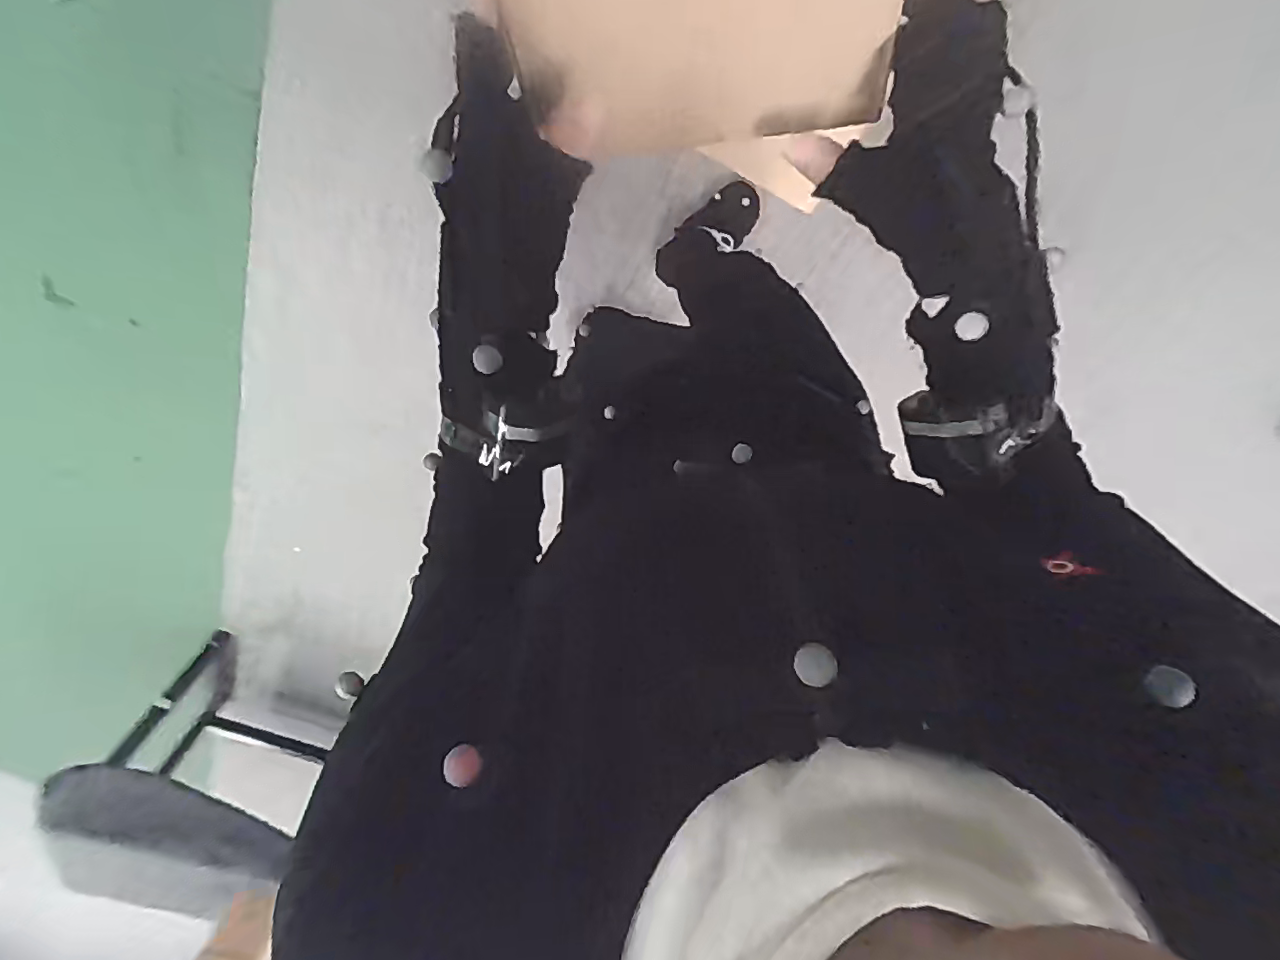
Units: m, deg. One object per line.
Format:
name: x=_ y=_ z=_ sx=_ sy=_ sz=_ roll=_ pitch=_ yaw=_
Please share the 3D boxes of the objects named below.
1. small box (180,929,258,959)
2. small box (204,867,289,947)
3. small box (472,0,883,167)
small box: x=-1.299 y=1.488 z=1.629 sx=0.179 sy=0.176 sz=0.168 roll=24 pitch=125 yaw=-10
small box: x=-1.284 y=1.399 z=1.767 sx=0.168 sy=0.176 sz=0.179 roll=25 pitch=124 yaw=-12
small box: x=0.013 y=-0.284 z=0.252 sx=0.179 sy=0.176 sz=0.168 roll=-5 pitch=149 yaw=8
